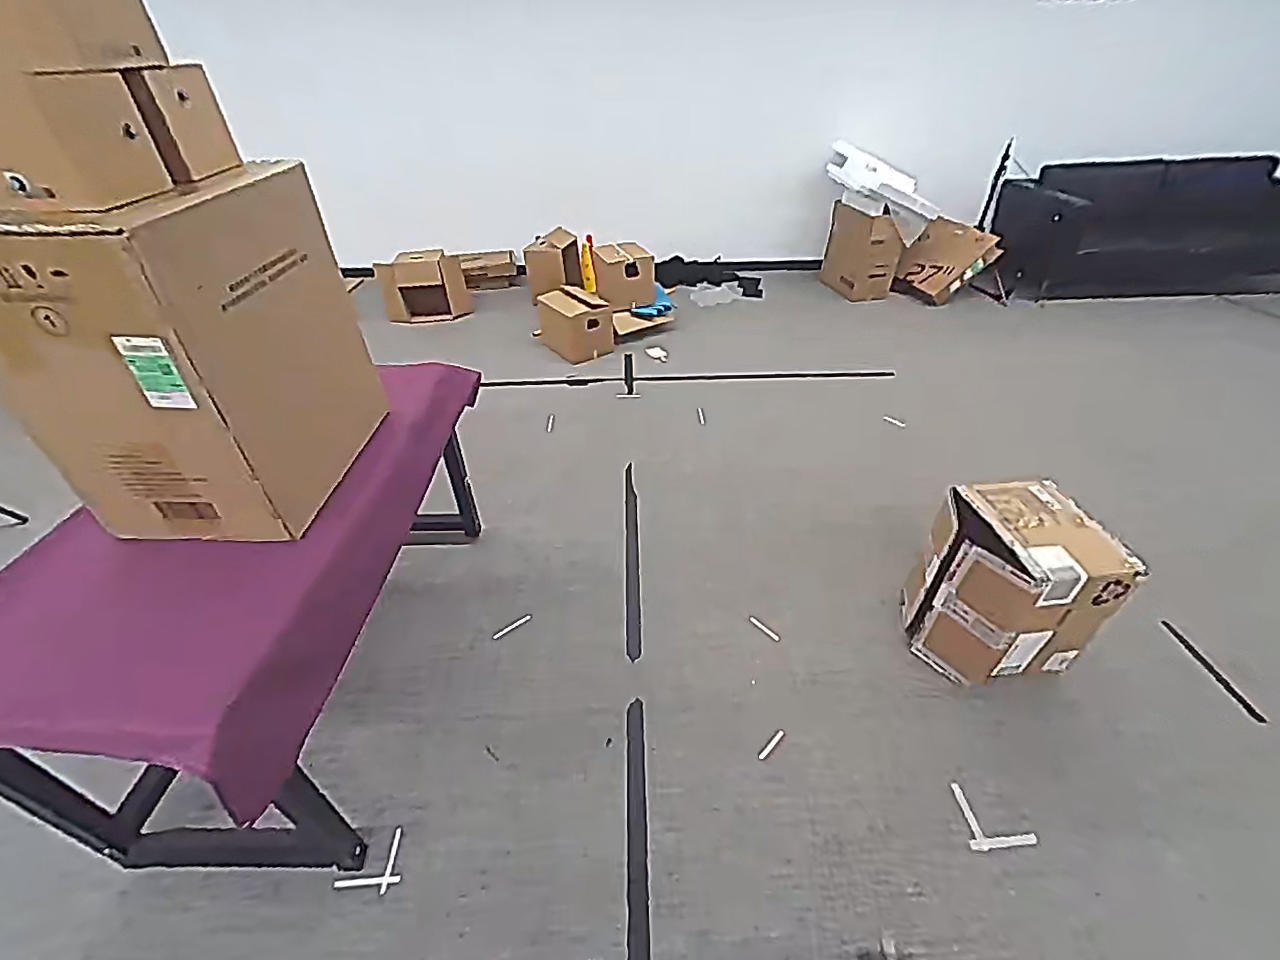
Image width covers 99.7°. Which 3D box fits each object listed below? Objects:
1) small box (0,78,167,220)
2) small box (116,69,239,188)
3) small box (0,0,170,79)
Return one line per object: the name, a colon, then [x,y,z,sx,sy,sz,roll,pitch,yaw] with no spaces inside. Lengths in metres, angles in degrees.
small box: [-0.885,-0.507,0.826,0.168,0.176,0.179,-3,38,-2]
small box: [-0.896,-0.648,0.999,0.168,0.176,0.179,-2,39,-2]
small box: [-0.899,-0.719,0.829,0.179,0.176,0.168,3,40,6]
